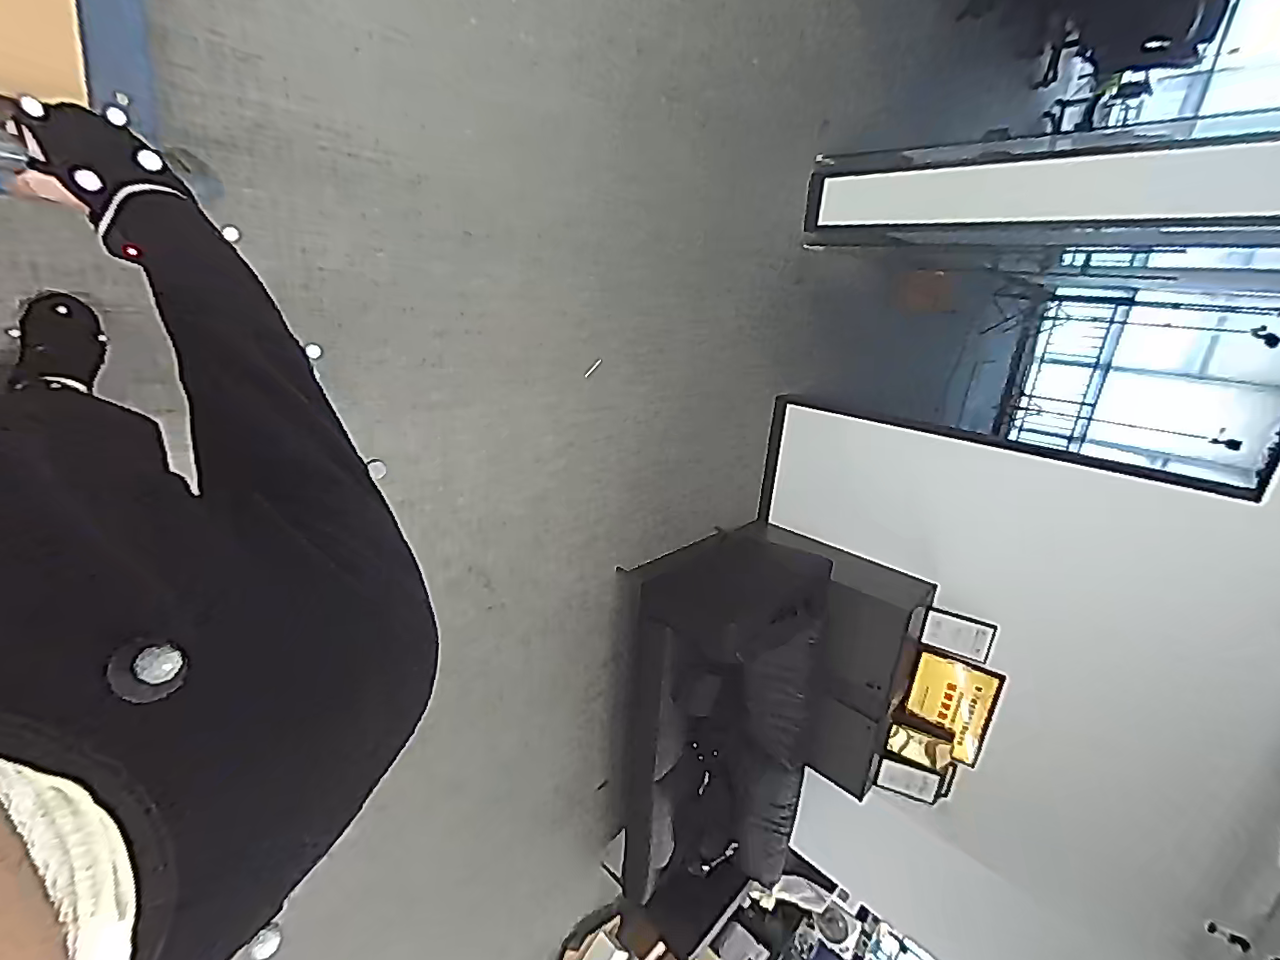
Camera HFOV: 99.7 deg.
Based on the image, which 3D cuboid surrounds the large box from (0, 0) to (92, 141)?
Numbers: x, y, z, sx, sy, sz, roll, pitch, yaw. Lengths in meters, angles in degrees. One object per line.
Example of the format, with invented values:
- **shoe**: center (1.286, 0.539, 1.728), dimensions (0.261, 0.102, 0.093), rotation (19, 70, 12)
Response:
- **large box**: center (-0.946, -0.709, 0.674), dimensions (0.320, 0.320, 0.408), rotation (-11, 113, -47)
